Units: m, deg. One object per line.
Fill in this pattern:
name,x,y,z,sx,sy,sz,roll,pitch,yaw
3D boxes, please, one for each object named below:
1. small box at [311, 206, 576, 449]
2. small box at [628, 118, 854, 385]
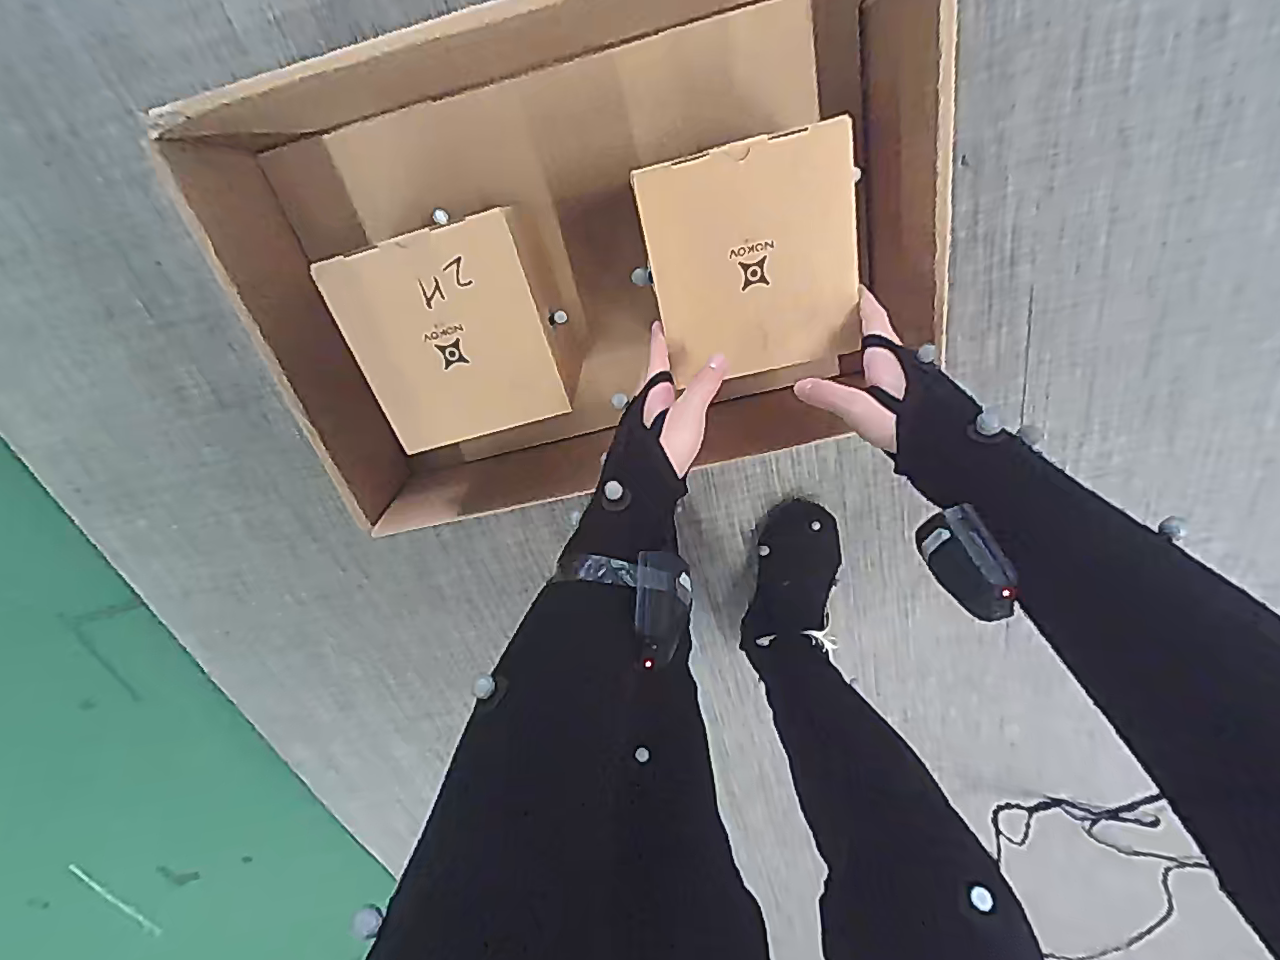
small box,-0.167,-0.156,0.533,0.168,0.176,0.179,-13,117,5
small box,0.089,-0.206,0.506,0.168,0.176,0.179,-10,113,6
